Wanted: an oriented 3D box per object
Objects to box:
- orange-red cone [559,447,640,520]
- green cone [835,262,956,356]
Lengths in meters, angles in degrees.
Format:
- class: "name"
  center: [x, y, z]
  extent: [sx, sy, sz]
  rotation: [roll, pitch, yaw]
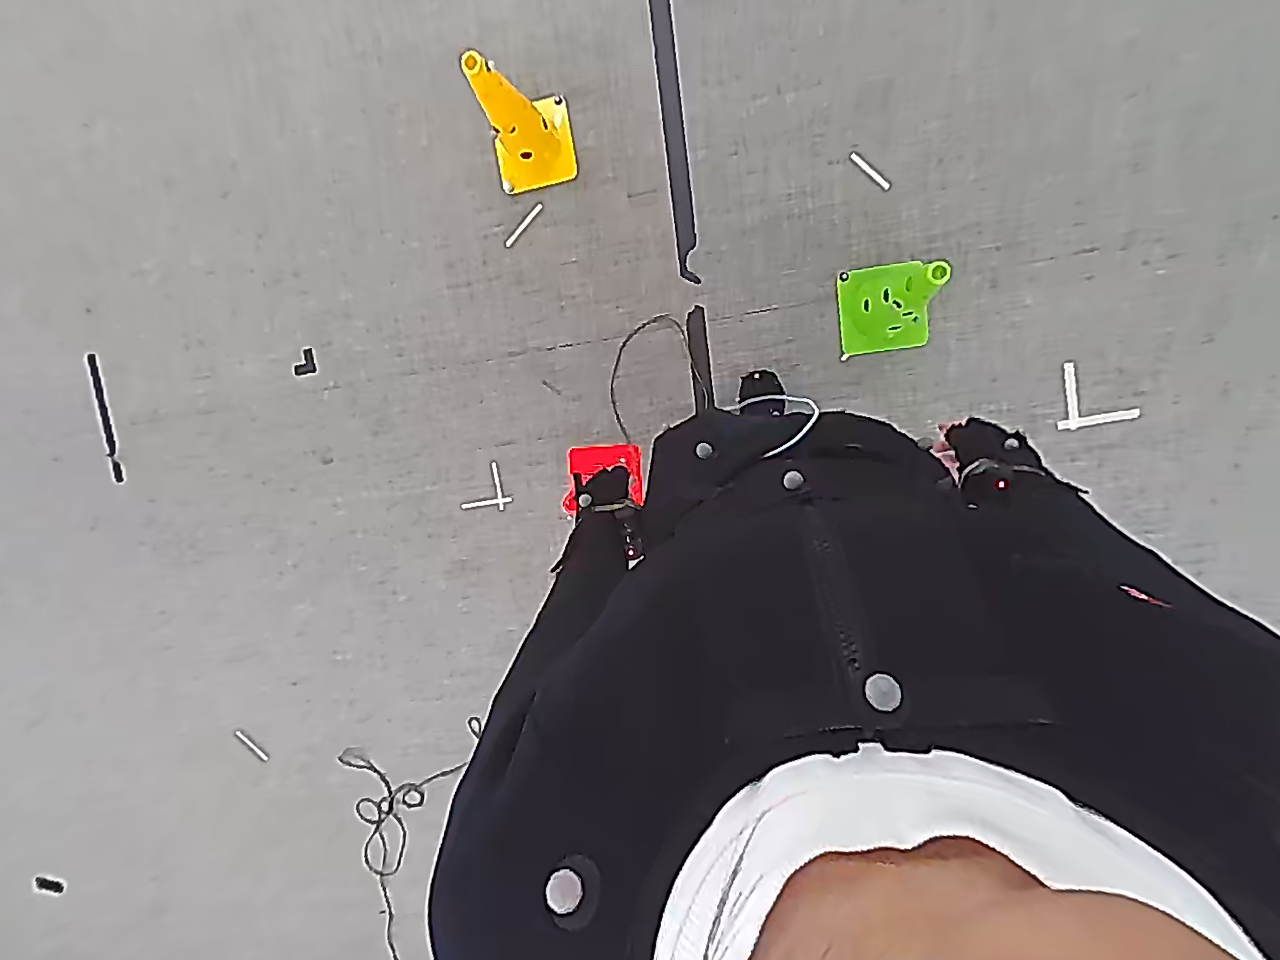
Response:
- class: "orange-red cone"
  center: [-0.126, 0.030, 1.295]
  extent: [0.199, 0.360, 0.198]
  rotation: [-2, 96, 10]
- class: "green cone"
  center: [0.557, -0.385, 1.133]
  extent: [0.202, 0.368, 0.200]
  rotation: [-7, 97, 8]
